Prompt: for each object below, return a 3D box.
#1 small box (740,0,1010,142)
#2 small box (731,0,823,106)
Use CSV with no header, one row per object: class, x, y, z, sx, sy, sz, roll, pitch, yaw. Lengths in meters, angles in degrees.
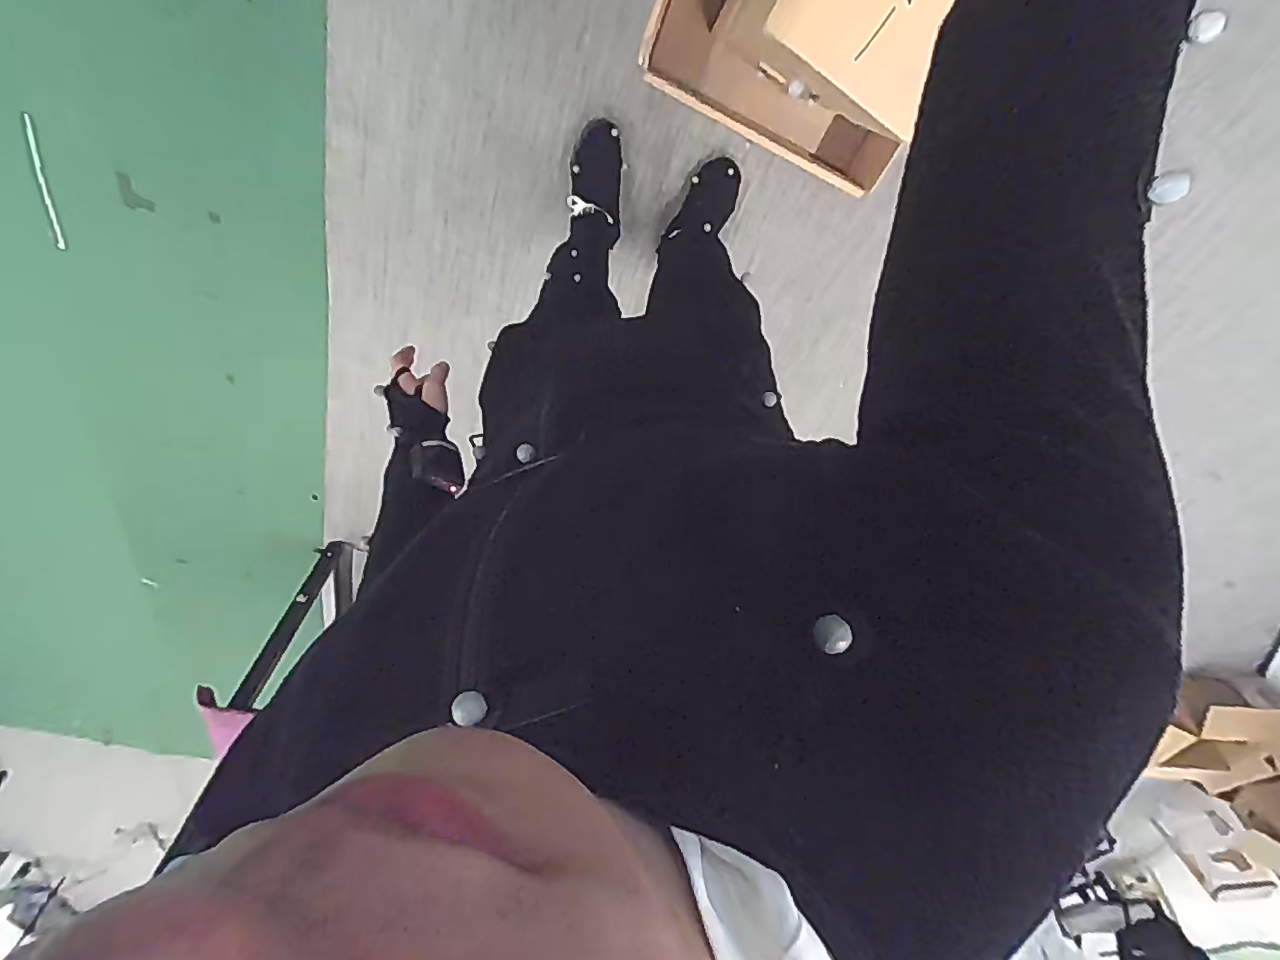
small box,0.206,-0.443,0.474,0.168,0.176,0.179,24,126,-19
small box,0.216,-0.546,0.602,0.168,0.176,0.179,23,125,-19
